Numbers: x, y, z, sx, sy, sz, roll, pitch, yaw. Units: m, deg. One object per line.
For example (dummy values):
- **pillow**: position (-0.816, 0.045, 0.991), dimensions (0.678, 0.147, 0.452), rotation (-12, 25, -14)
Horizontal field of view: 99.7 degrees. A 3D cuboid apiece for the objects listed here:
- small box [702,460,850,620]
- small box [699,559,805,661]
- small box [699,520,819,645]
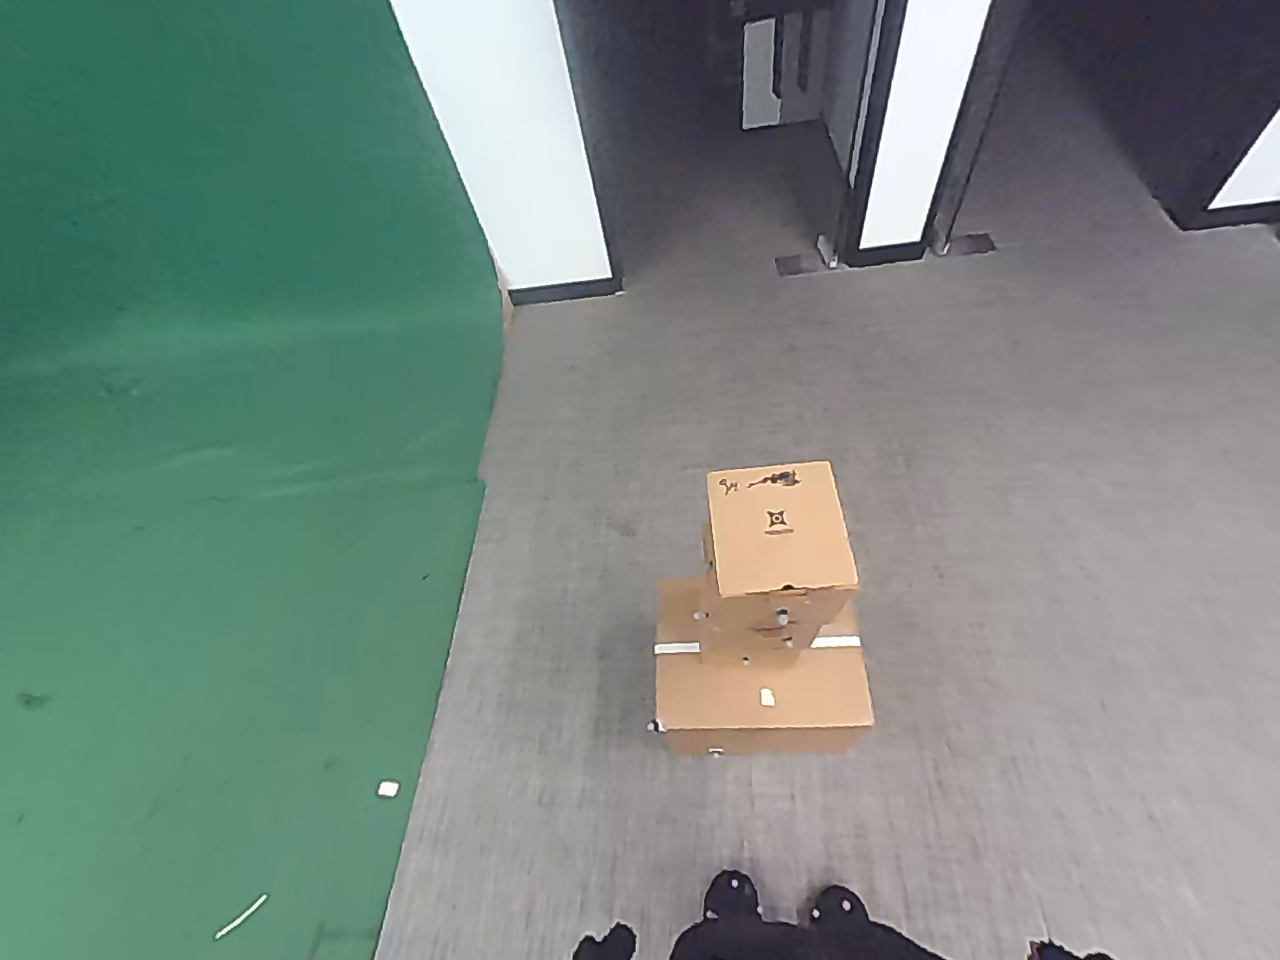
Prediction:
- **small box**: position (0.181, 0.093, 0.760), dimensions (0.168, 0.176, 0.179), rotation (-6, 62, 6)
- **small box**: position (0.208, 0.251, 1.044), dimensions (0.179, 0.176, 0.168), rotation (-4, 62, 7)
- **small box**: position (0.191, 0.172, 0.903), dimensions (0.168, 0.176, 0.179), rotation (-6, 60, 5)
